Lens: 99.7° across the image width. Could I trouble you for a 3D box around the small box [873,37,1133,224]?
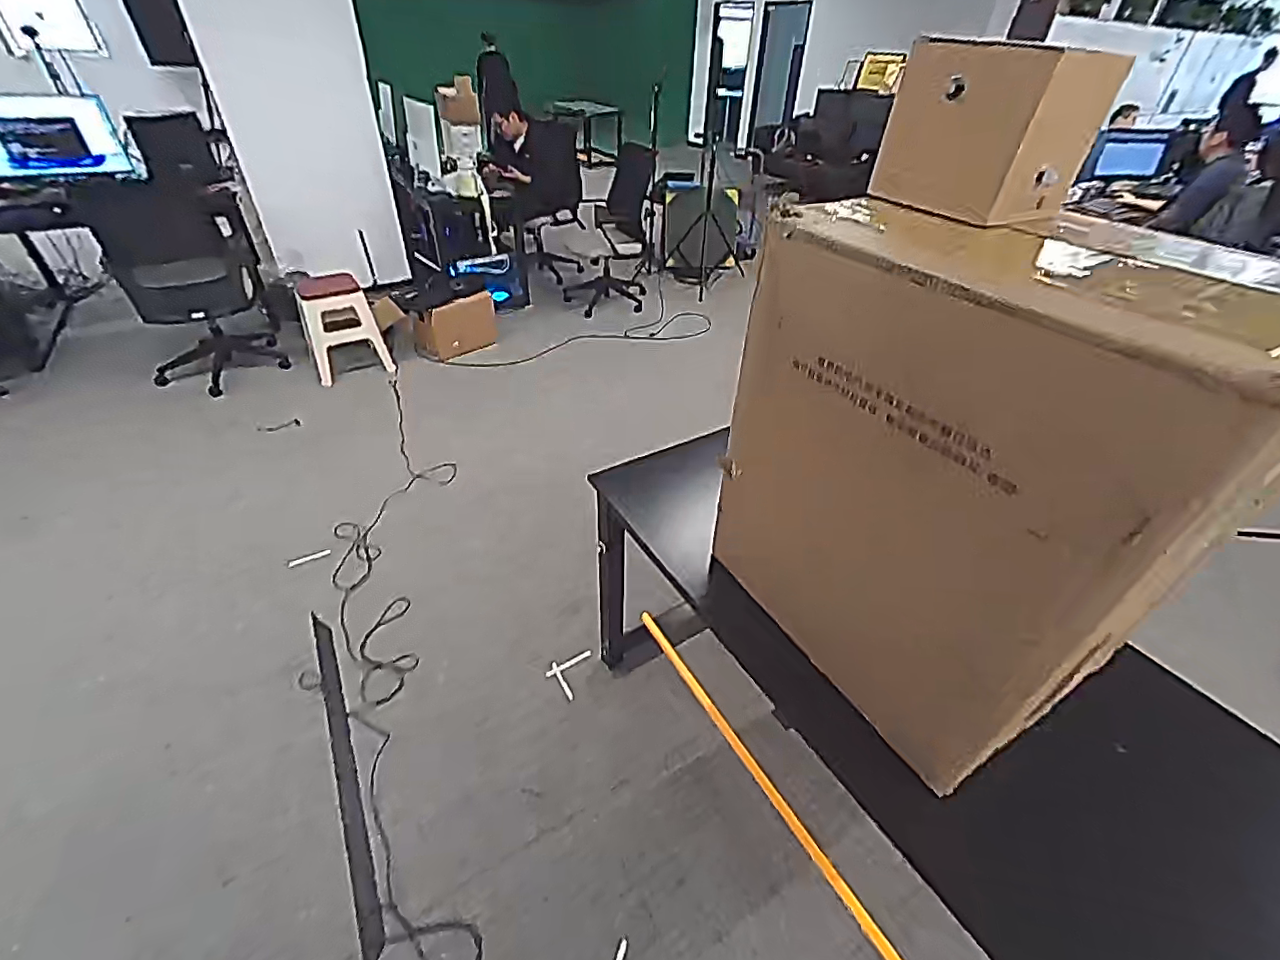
[{"bbox_3d":[0.424,-0.425,0.662,0.168,0.176,0.179,-19,45,-26],"label":"small box"}]
